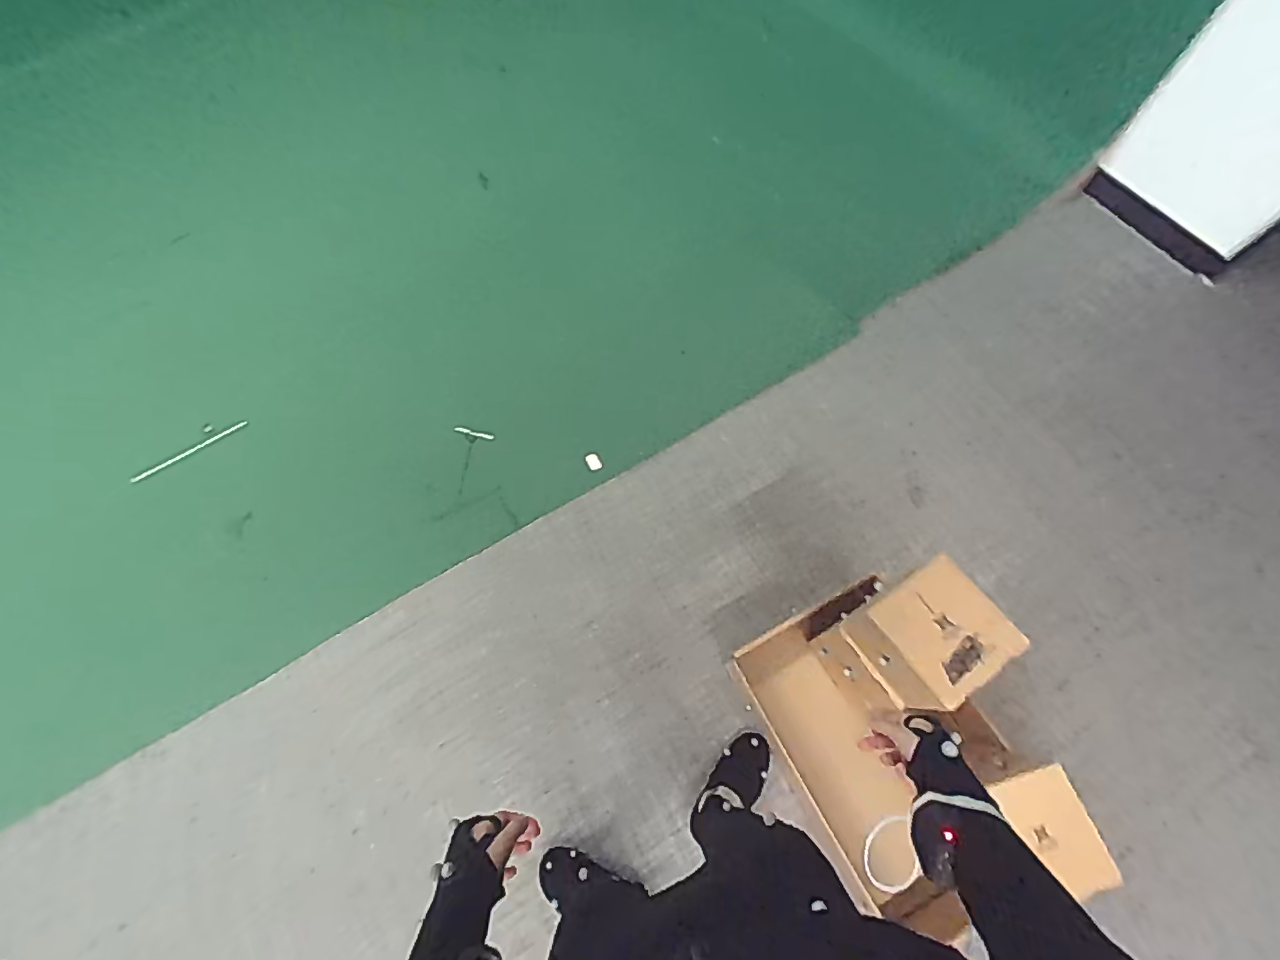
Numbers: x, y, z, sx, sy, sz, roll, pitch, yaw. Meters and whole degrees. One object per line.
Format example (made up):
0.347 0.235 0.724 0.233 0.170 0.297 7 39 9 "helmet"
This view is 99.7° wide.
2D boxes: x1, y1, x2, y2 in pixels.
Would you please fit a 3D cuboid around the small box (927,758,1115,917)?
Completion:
0.633 0.594 0.929 0.168 0.176 0.179 -18 69 -1 "small box"

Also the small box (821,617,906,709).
0.479 0.318 1.044 0.179 0.176 0.168 -31 69 -6 "small box"

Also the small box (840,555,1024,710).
0.465 0.253 0.893 0.168 0.176 0.179 -33 69 -8 "small box"
